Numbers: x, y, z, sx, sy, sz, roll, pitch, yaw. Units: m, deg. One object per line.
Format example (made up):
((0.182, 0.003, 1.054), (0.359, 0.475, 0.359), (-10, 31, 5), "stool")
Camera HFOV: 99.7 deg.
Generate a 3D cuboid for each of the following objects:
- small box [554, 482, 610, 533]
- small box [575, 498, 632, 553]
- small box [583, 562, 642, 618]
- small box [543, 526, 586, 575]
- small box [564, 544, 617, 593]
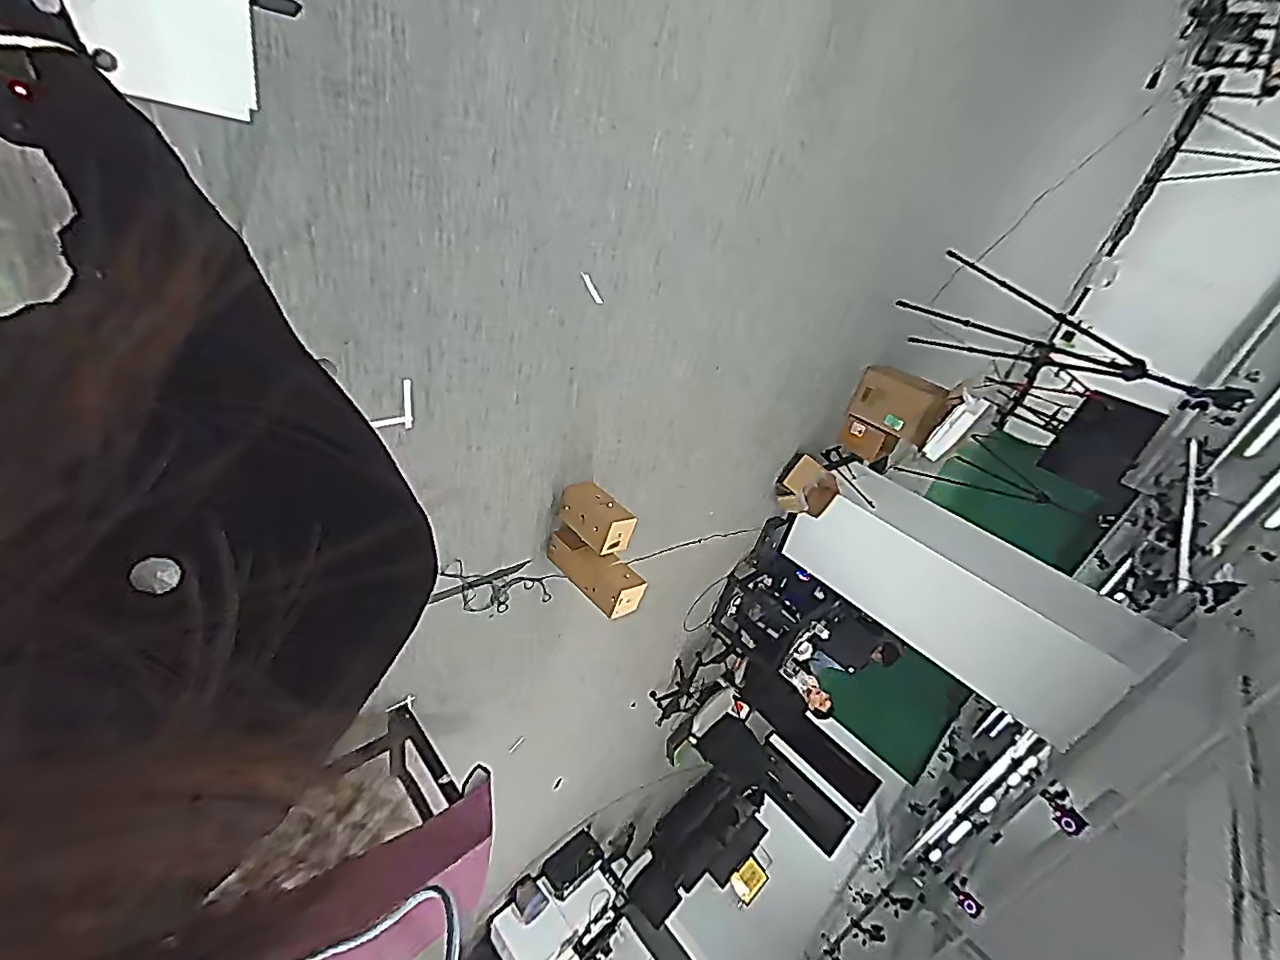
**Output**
((-0.274, 0.123, 2.547), (0.179, 0.176, 0.168), (-11, 128, -46), "small box")
((-0.171, 0.203, 2.446), (0.168, 0.176, 0.179), (-7, 125, -49), "small box")
((-0.129, 0.495, 2.475), (0.179, 0.176, 0.168), (-7, 125, -50), "small box")
((-0.350, 0.333, 2.653), (0.179, 0.176, 0.168), (-16, 131, -44), "small box")
((-0.240, 0.415, 2.566), (0.168, 0.176, 0.179), (-15, 131, -45), "small box")
